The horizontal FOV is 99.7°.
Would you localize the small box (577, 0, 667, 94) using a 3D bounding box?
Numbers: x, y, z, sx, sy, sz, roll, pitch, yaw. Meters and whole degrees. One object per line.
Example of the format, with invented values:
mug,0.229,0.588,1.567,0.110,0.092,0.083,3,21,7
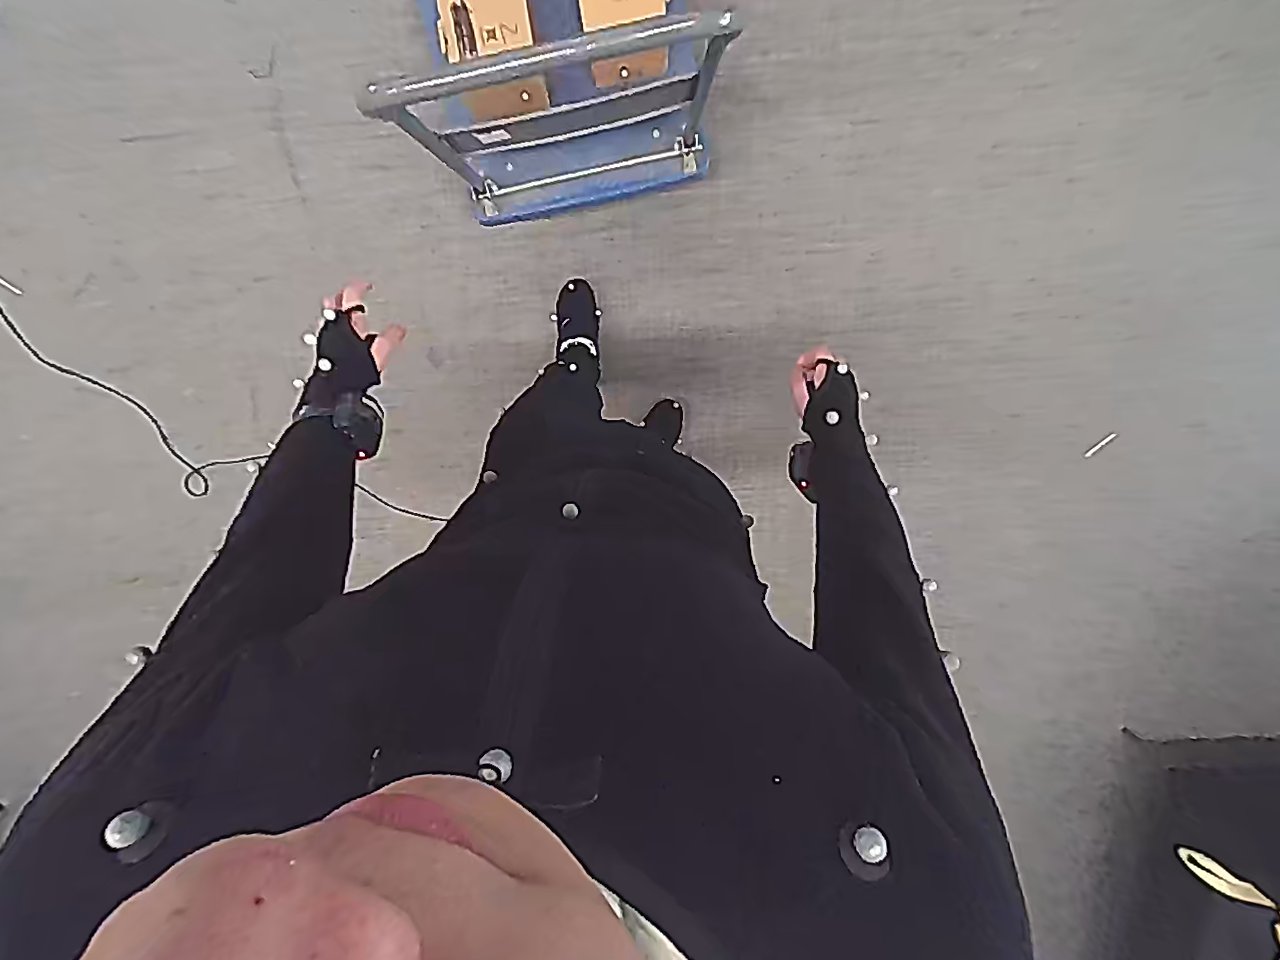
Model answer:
small box,-0.041,-0.964,1.144,0.168,0.176,0.179,-10,104,3
